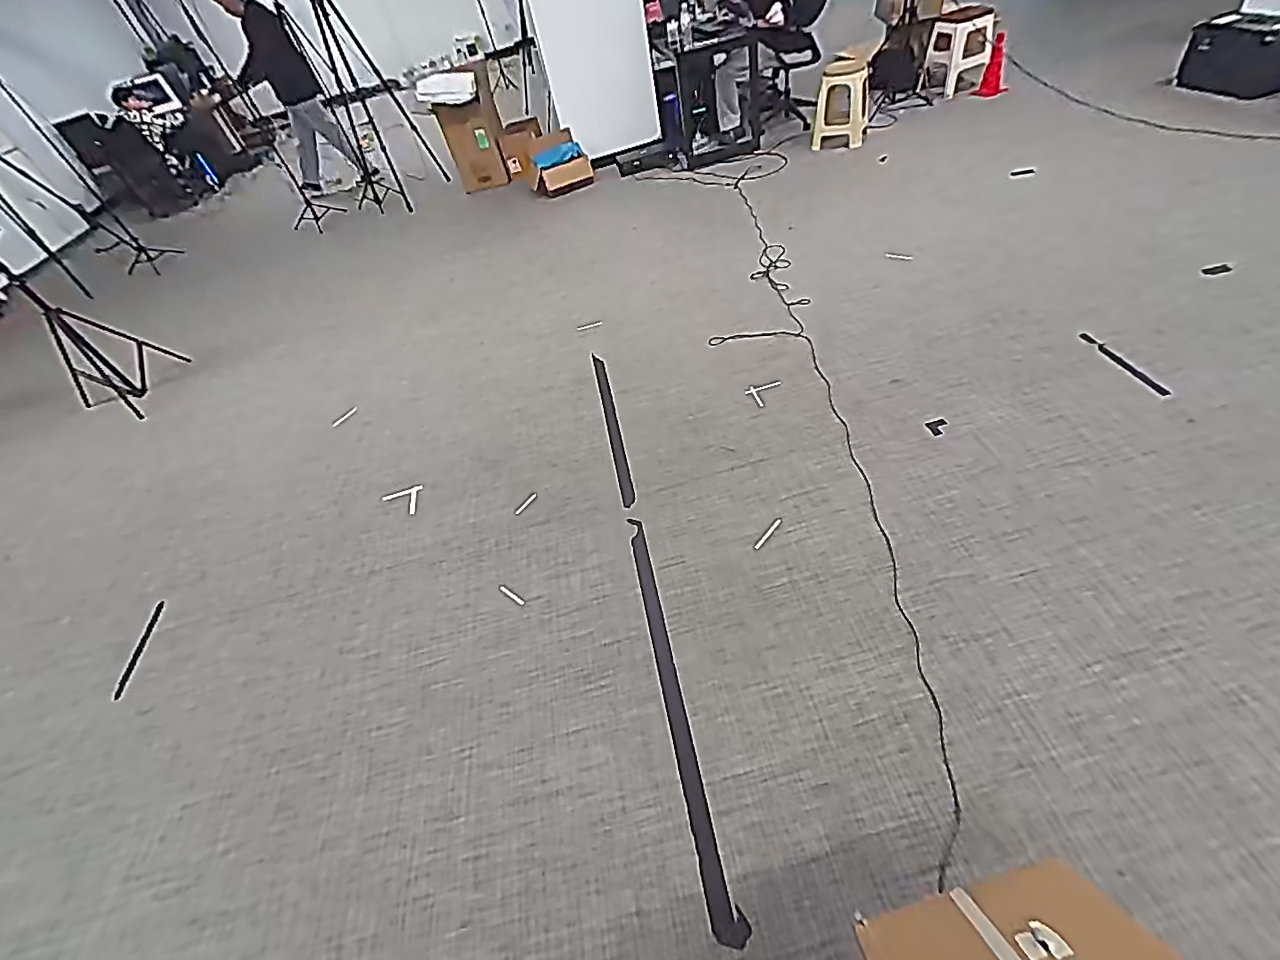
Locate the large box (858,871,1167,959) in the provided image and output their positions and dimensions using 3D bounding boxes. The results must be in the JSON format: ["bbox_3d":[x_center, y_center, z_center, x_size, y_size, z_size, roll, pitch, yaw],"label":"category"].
[{"bbox_3d":[0.493,0.720,0.563,0.320,0.408,0.320,-19,79,2],"label":"large box"}]
